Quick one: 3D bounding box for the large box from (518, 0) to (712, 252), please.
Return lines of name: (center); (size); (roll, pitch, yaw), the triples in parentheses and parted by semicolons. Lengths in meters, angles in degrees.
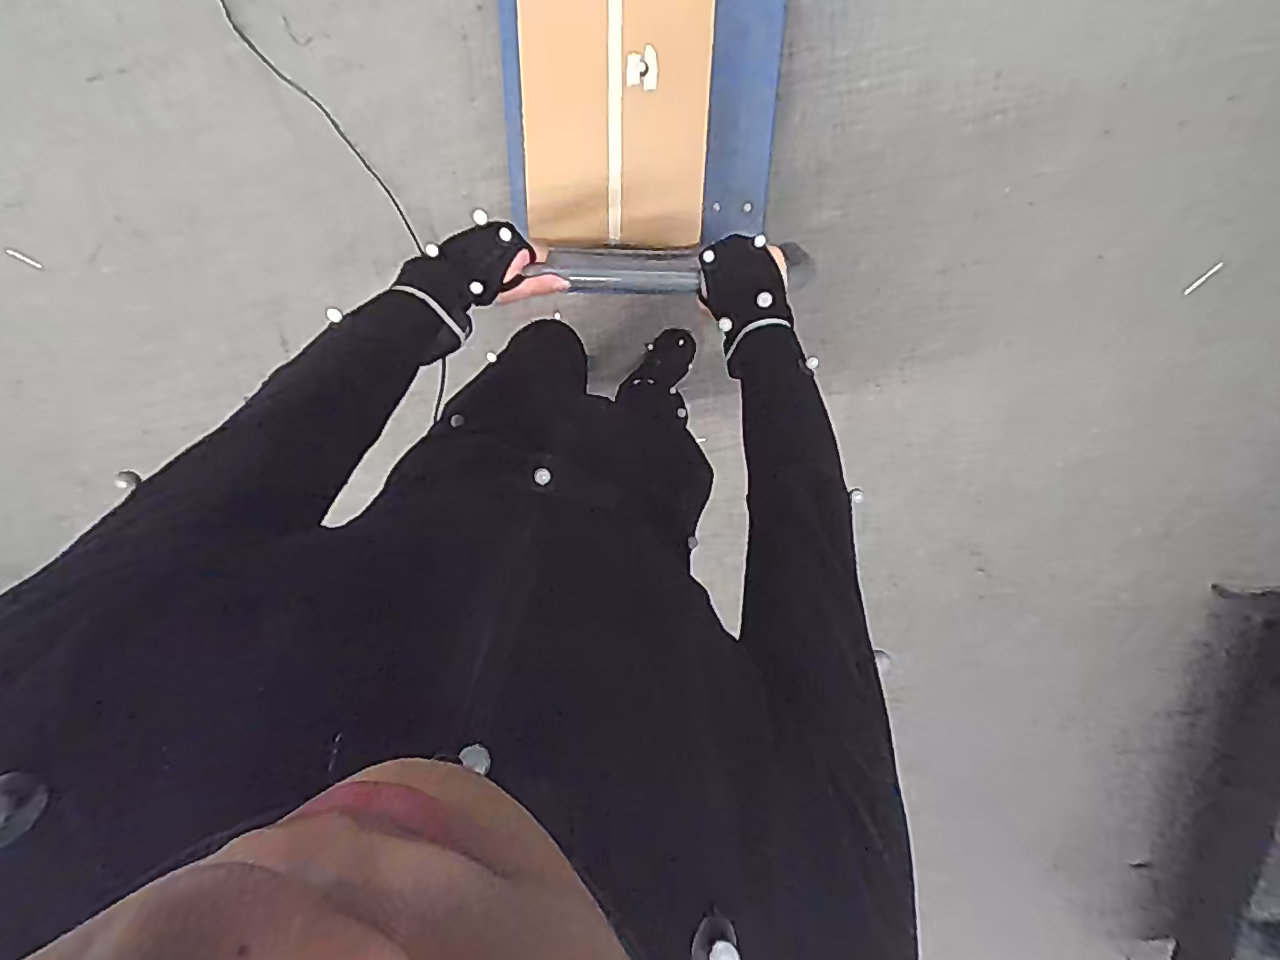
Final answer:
large box: (-0.033, -0.665, 1.047); (0.320, 0.320, 0.408); (1, 112, 1)
